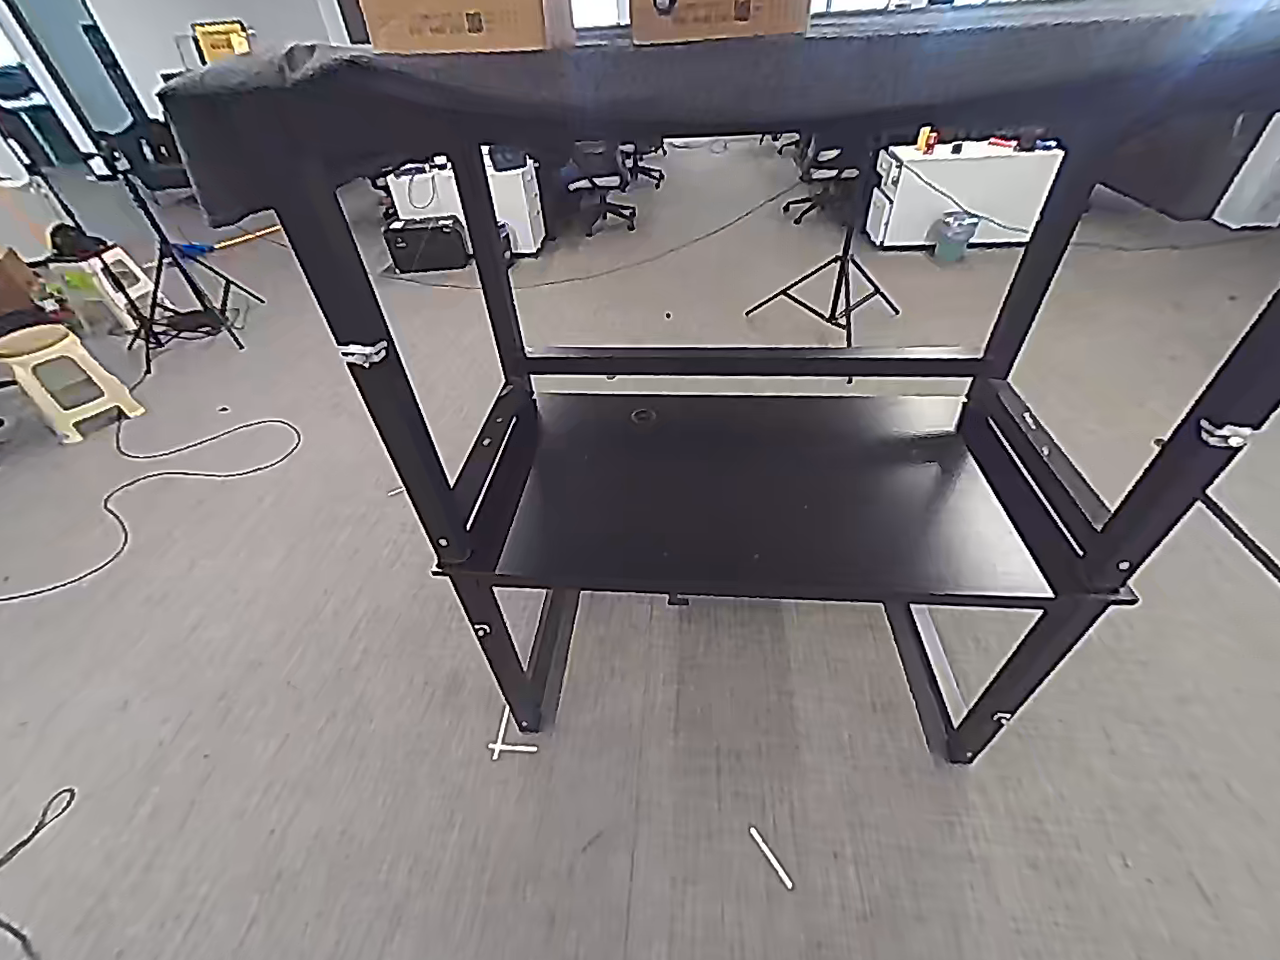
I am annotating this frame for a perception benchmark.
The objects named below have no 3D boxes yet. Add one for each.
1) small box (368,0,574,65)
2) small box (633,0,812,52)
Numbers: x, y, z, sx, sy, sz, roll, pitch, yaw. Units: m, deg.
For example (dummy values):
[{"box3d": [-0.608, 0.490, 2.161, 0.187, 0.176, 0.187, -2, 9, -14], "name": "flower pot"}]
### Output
[{"box3d": [-0.163, -0.510, 0.520, 0.168, 0.176, 0.179, 2, 39, 5], "name": "small box"}, {"box3d": [0.080, -0.523, 0.516, 0.168, 0.176, 0.179, 2, 39, 7], "name": "small box"}]
